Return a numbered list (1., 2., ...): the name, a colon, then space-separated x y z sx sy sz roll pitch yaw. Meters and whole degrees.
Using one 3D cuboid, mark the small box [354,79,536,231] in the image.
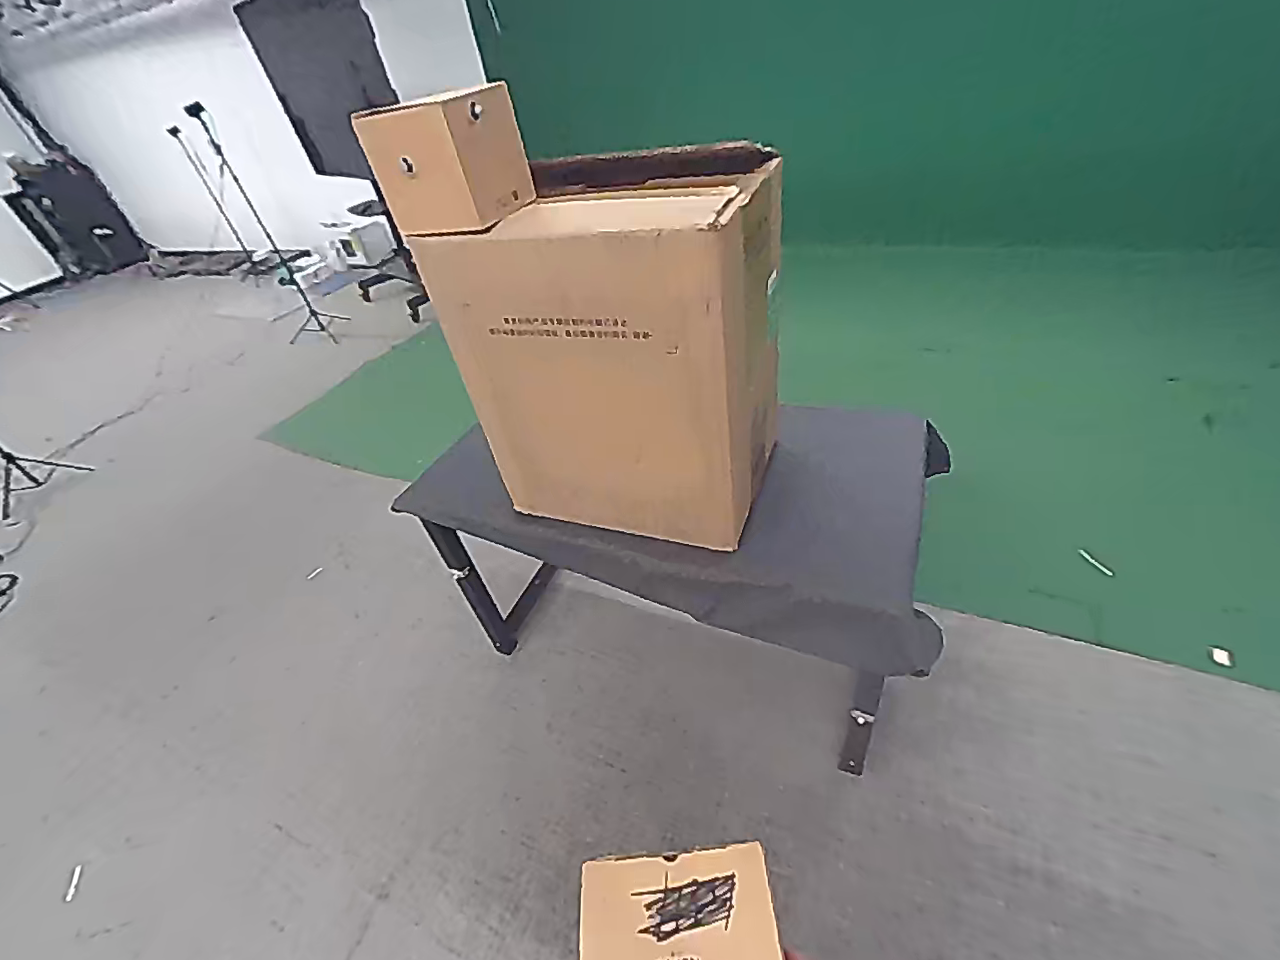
1. small box: -0.293 -0.505 0.850 0.179 0.176 0.168 9 45 23
